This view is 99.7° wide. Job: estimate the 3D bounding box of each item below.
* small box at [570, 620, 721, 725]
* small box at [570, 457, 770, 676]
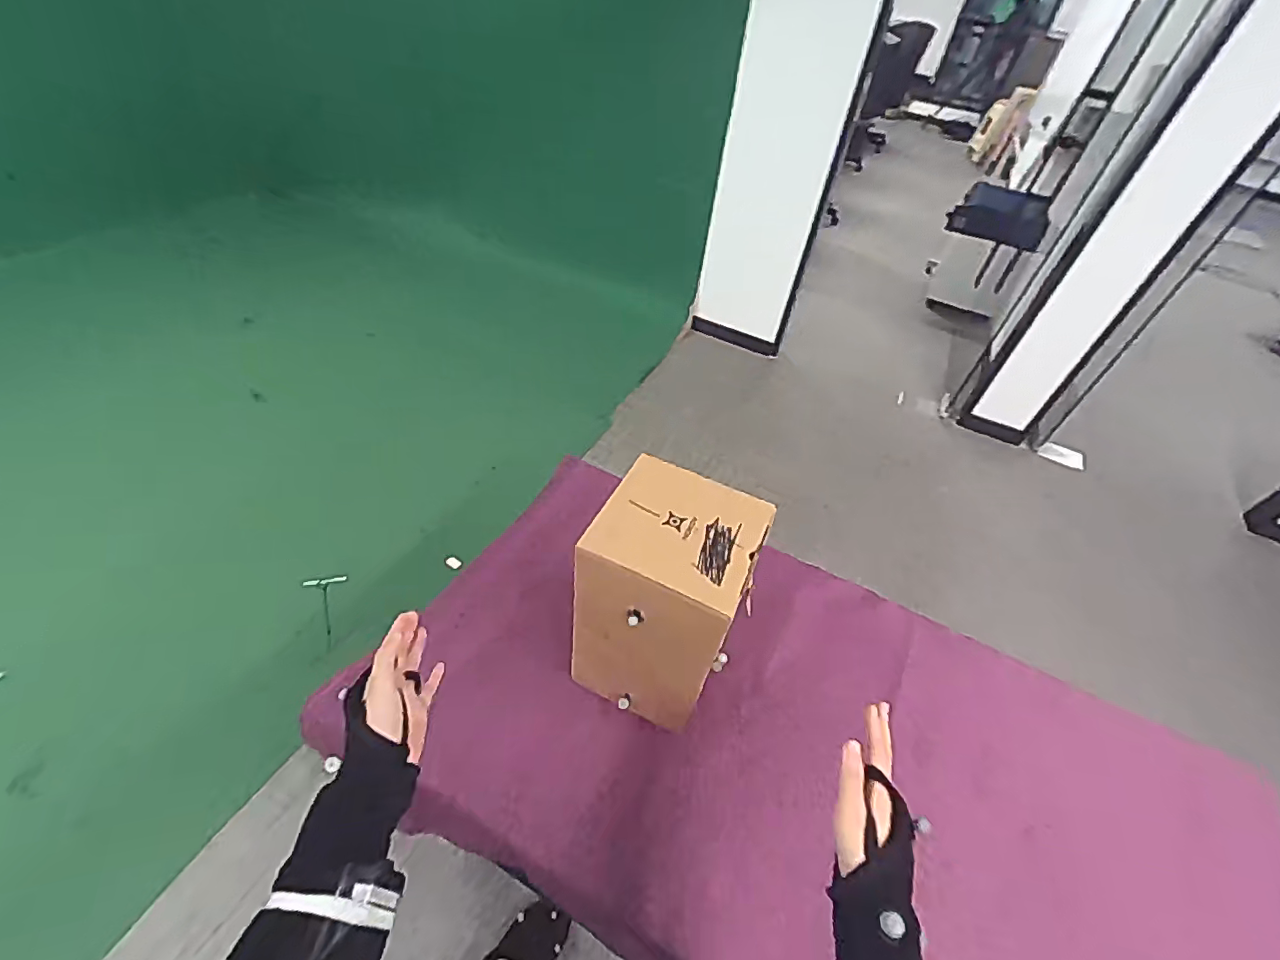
[{"bbox_3d":[0.015,0.220,0.770,0.179,0.176,0.168,23,48,13],"label":"small box"},{"bbox_3d":[0.032,0.108,0.651,0.179,0.176,0.168,22,48,14],"label":"small box"}]
